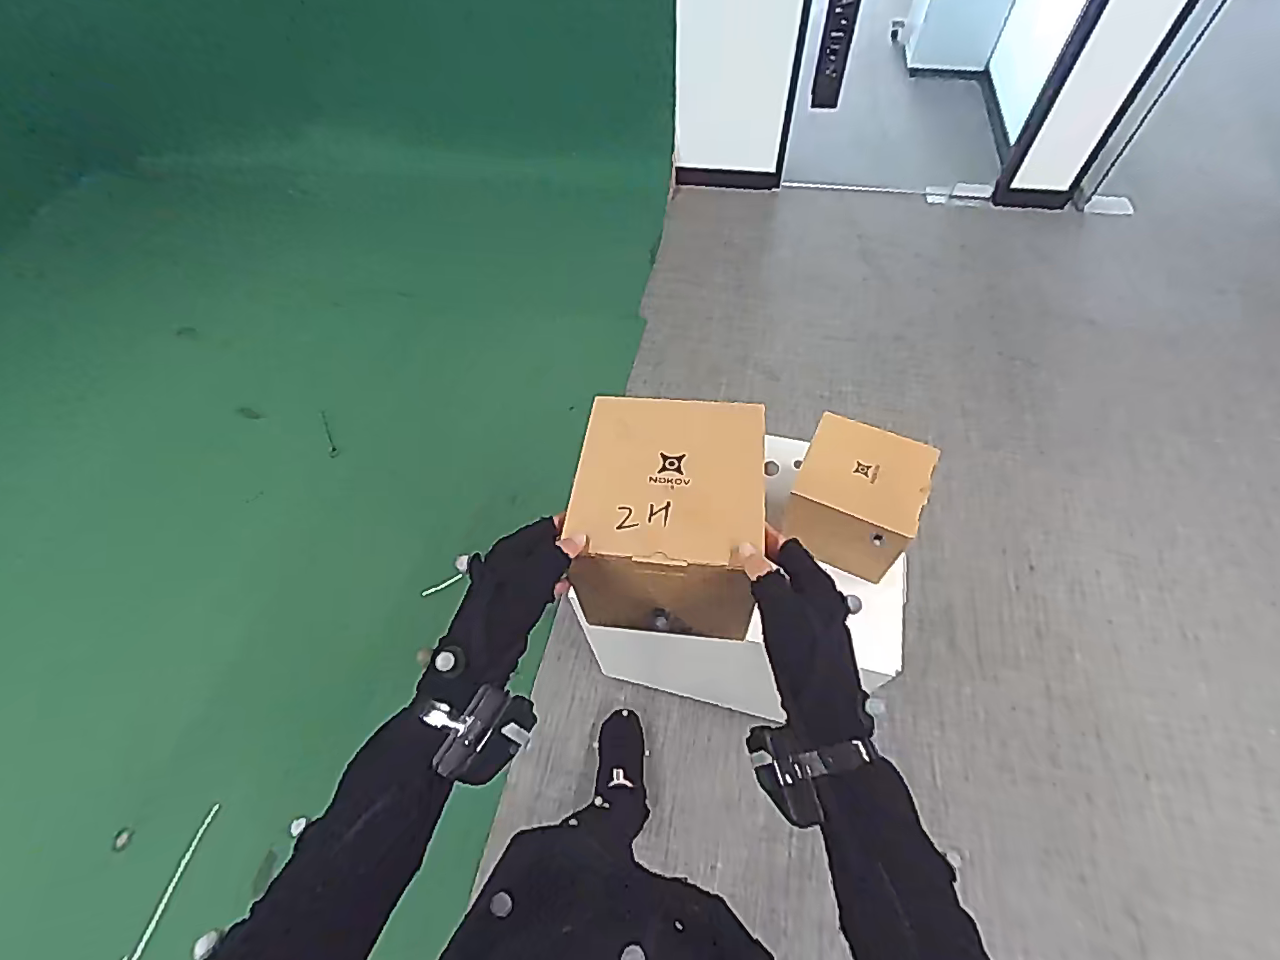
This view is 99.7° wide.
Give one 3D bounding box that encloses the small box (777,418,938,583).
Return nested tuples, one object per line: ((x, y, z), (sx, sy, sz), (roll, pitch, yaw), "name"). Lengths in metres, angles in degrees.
((0.329, 0.038, 0.848), (0.179, 0.176, 0.168), (22, 61, 17), "small box")

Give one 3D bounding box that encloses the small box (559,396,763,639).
((0.030, 0.039, 0.544), (0.168, 0.176, 0.179), (4, 55, 8), "small box")
